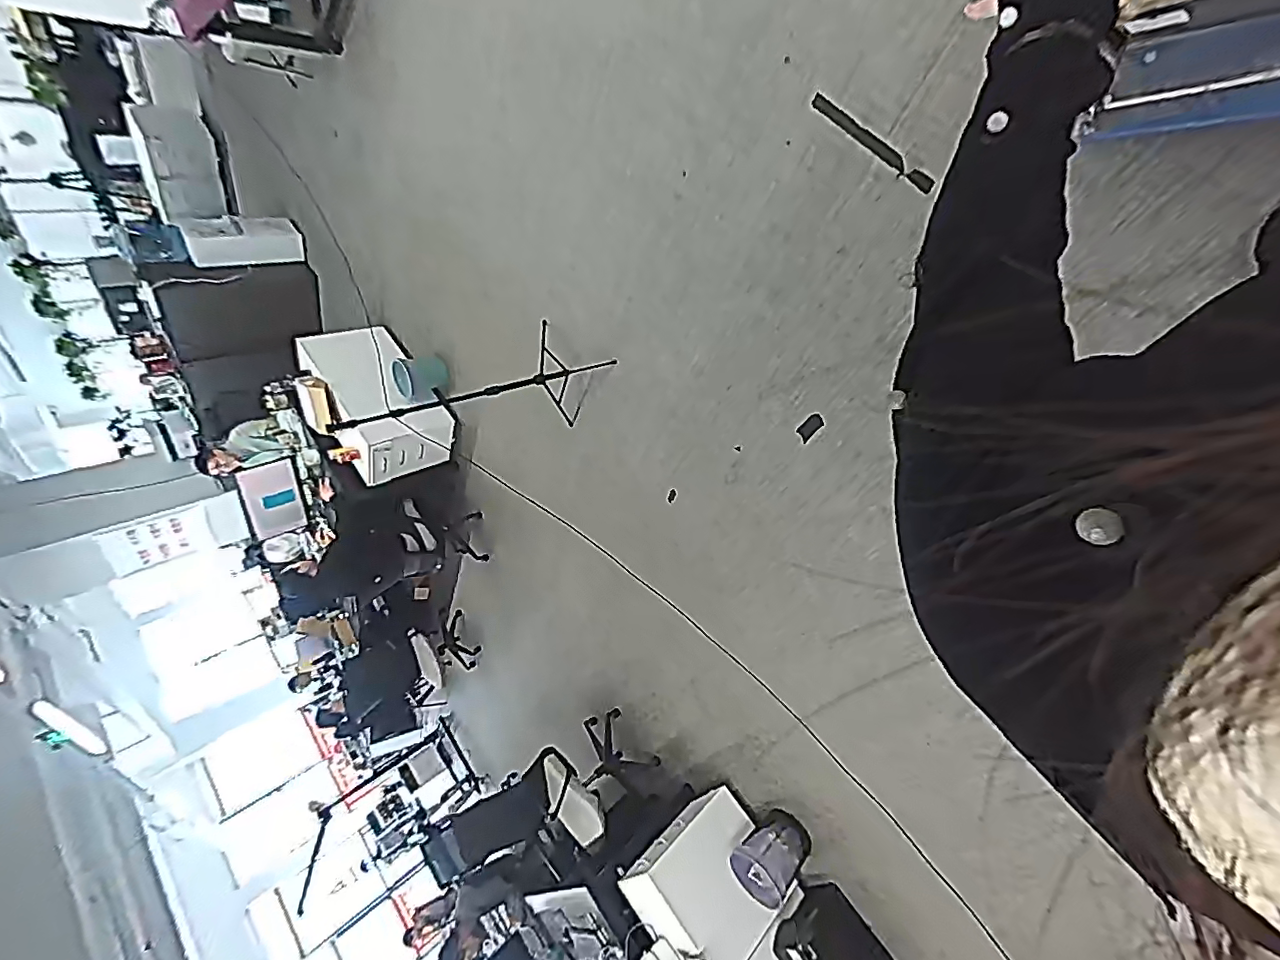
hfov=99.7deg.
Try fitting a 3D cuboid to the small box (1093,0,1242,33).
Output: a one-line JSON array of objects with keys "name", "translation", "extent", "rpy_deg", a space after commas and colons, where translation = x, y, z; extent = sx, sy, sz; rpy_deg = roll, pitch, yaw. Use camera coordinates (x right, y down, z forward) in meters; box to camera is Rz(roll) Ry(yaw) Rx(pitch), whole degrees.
[{"name": "small box", "translation": [0.755, -0.751, 0.742], "extent": [0.168, 0.176, 0.179], "rpy_deg": [13, 119, 43]}]
